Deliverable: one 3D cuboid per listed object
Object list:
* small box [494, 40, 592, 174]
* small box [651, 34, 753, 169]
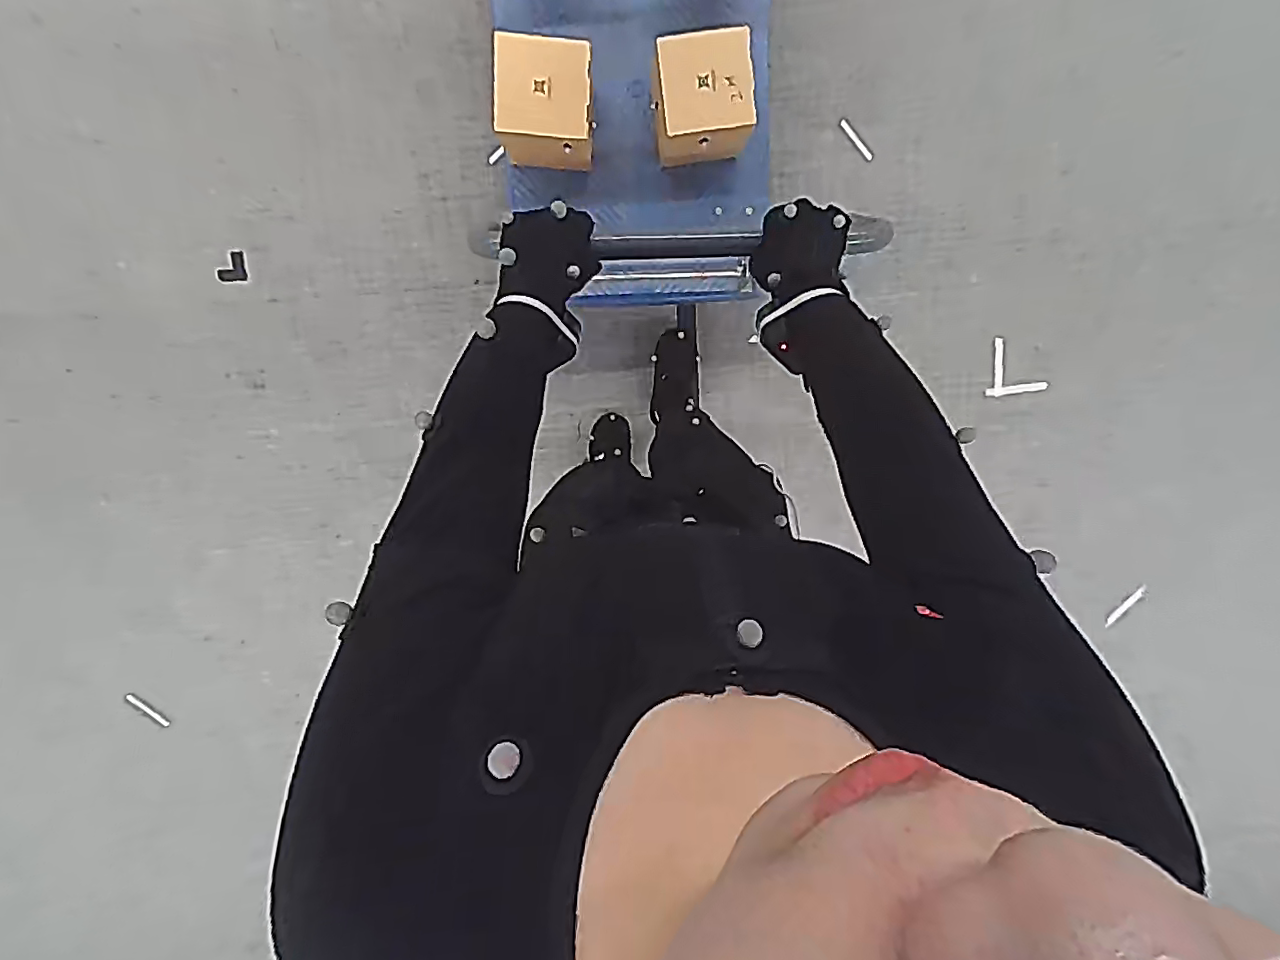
[{"bbox_3d":[-0.189,-0.732,1.081,0.179,0.176,0.168,2,101,-5],"label":"small box"},{"bbox_3d":[0.118,-0.752,1.093,0.179,0.176,0.168,-8,103,-1],"label":"small box"}]
